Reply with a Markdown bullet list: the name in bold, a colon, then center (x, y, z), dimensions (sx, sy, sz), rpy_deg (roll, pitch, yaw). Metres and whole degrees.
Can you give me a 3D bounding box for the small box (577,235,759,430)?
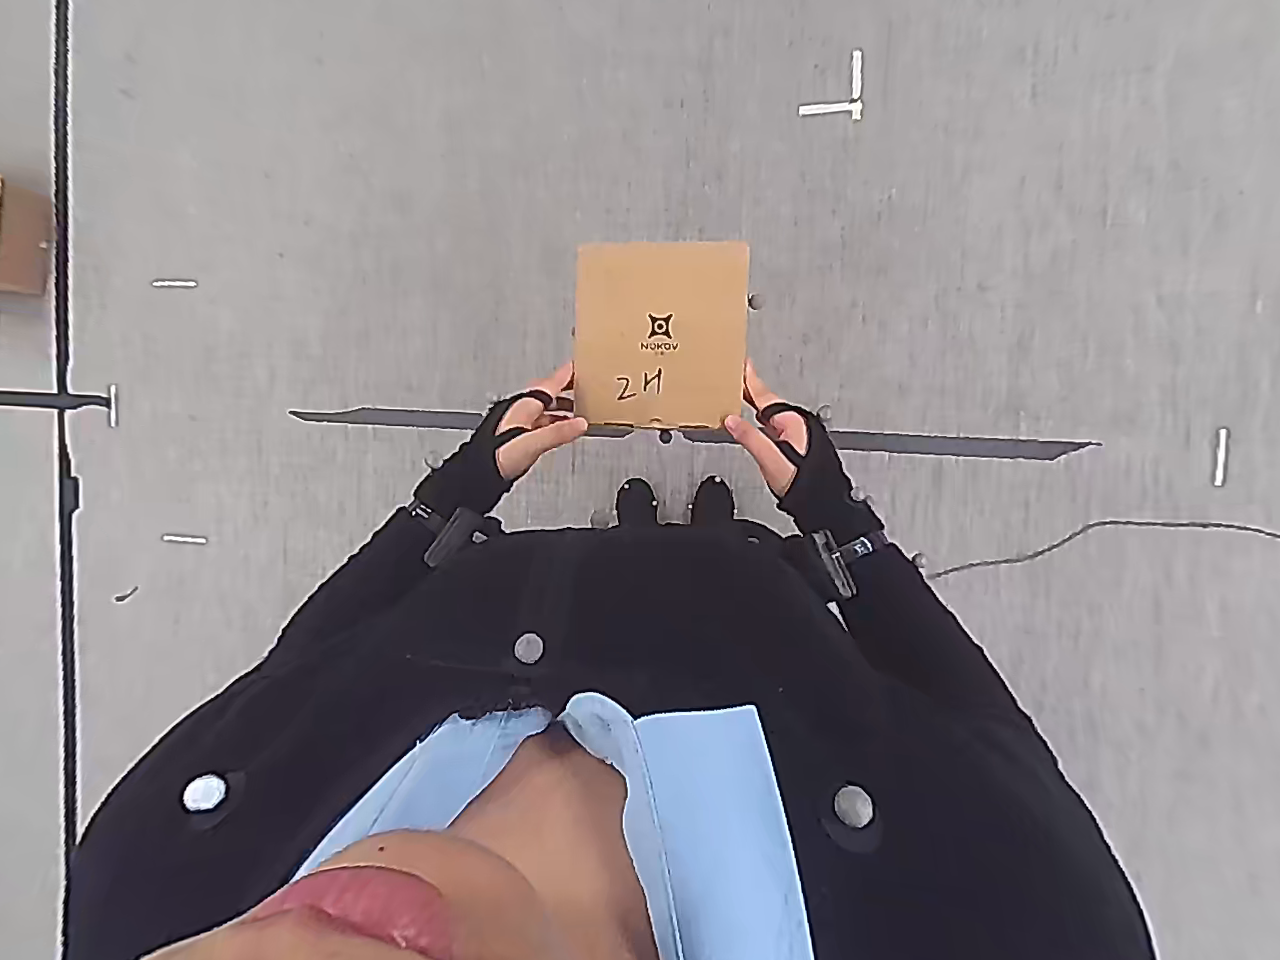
- **small box**: center (0.034, -0.146, 0.586), dimensions (0.168, 0.176, 0.179), rpy_deg (3, 96, 8)
